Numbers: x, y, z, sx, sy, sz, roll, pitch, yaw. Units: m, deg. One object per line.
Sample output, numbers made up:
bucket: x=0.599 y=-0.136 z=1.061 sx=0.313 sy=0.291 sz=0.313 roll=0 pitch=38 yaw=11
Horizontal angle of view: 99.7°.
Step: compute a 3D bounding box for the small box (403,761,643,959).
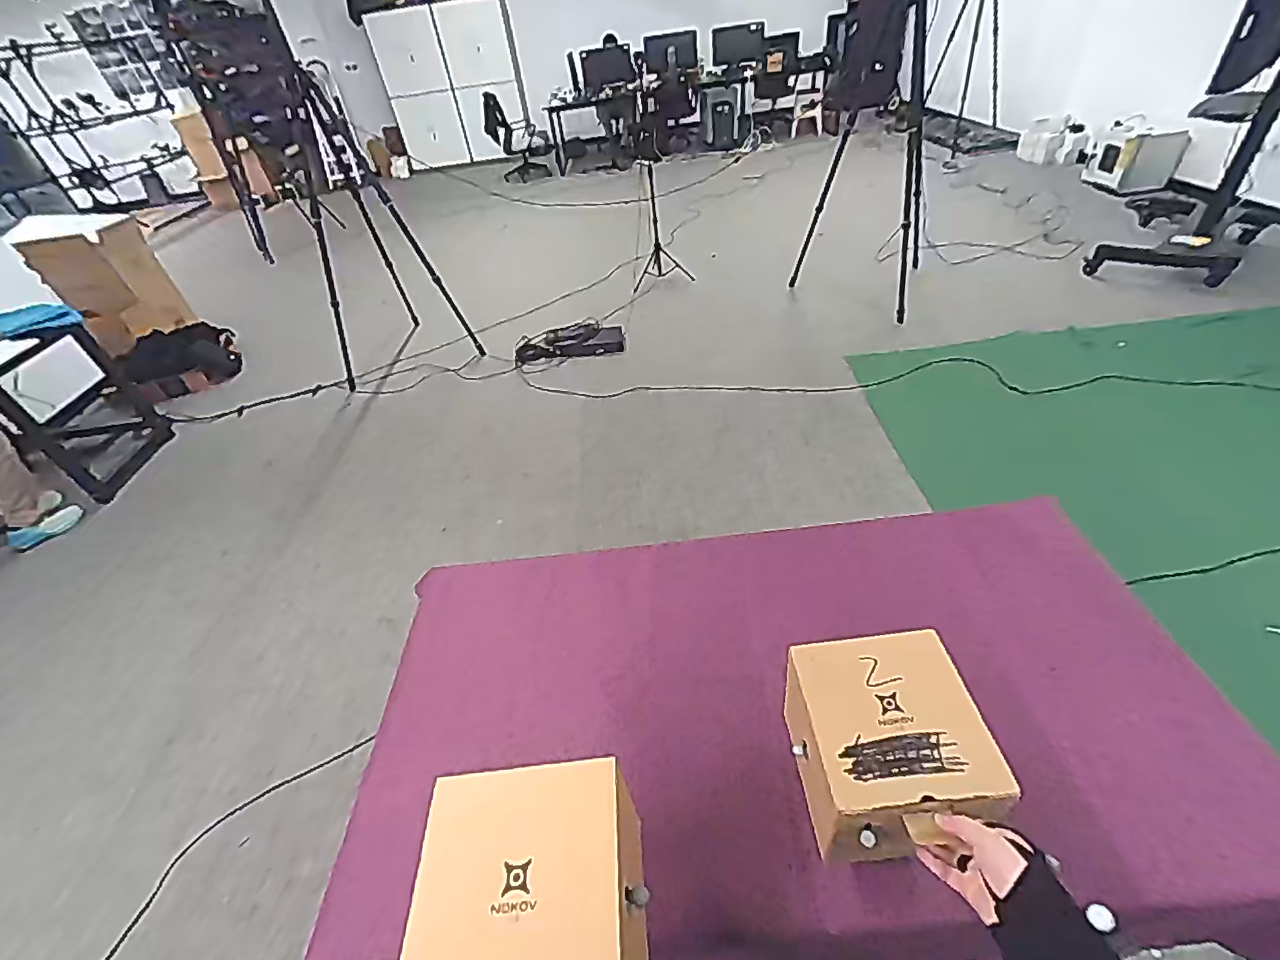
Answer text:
small box: x=-0.089 y=0.383 z=0.487 sx=0.168 sy=0.176 sz=0.179 roll=-8 pitch=42 yaw=2
